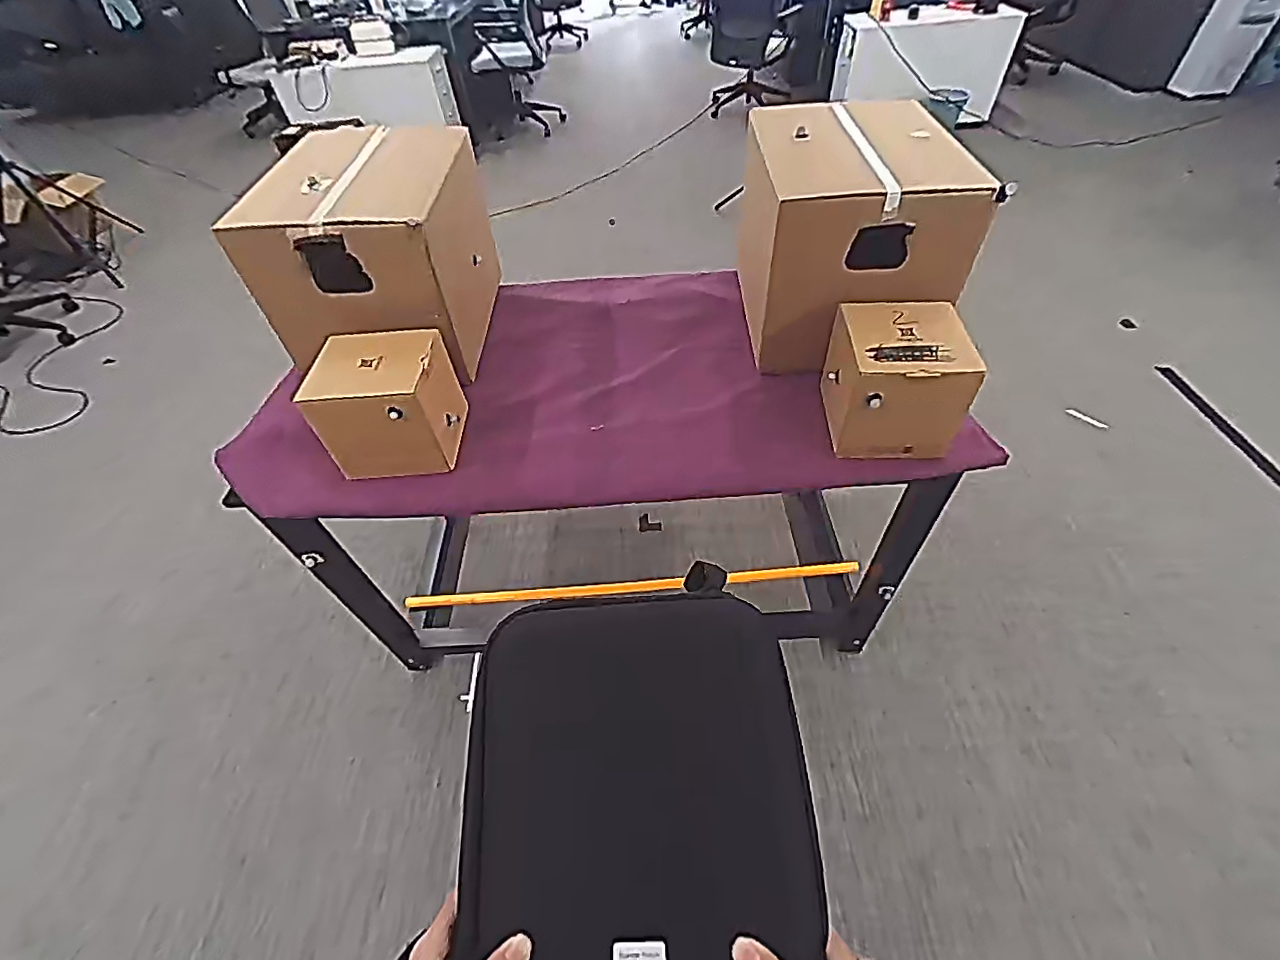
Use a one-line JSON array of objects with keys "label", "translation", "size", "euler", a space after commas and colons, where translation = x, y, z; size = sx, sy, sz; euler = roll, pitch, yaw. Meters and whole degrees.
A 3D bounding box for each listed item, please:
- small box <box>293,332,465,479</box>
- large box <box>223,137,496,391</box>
[{"label": "small box", "translation": [-0.403, -0.116, 0.871], "size": [0.179, 0.176, 0.168], "euler": [-5, 48, -1]}, {"label": "large box", "translation": [-0.477, -0.412, 1.039], "size": [0.320, 0.320, 0.408], "euler": [-3, 51, 0]}]
